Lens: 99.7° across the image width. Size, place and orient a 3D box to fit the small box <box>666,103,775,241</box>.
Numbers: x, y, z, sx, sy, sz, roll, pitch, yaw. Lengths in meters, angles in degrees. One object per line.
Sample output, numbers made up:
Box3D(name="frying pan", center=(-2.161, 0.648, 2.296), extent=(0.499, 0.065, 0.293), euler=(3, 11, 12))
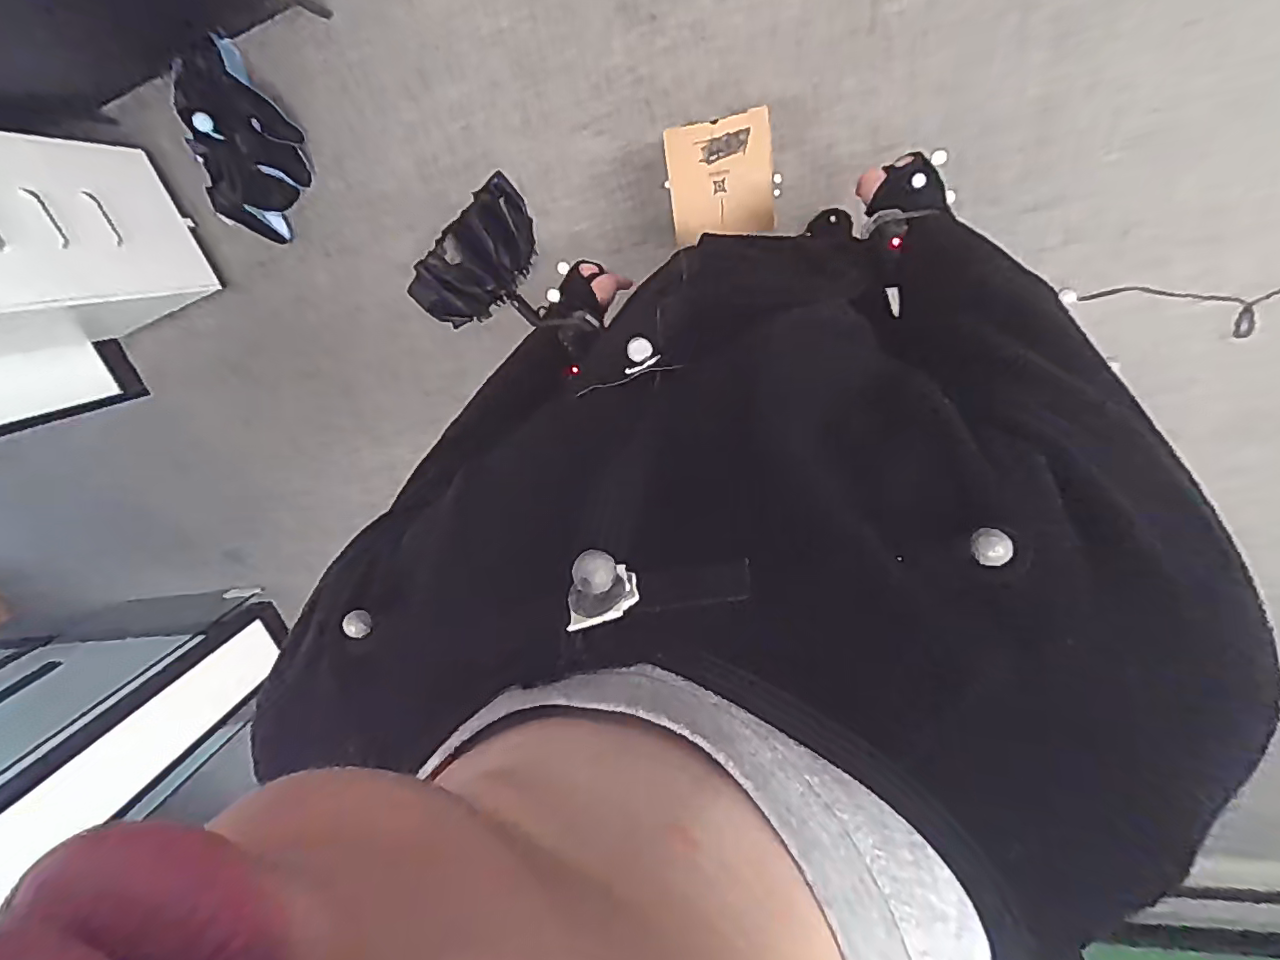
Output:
Box3D(name="small box", center=(0.146, -0.525, 0.946), extent=(0.168, 0.176, 0.179), euler=(-3, 114, 15))
